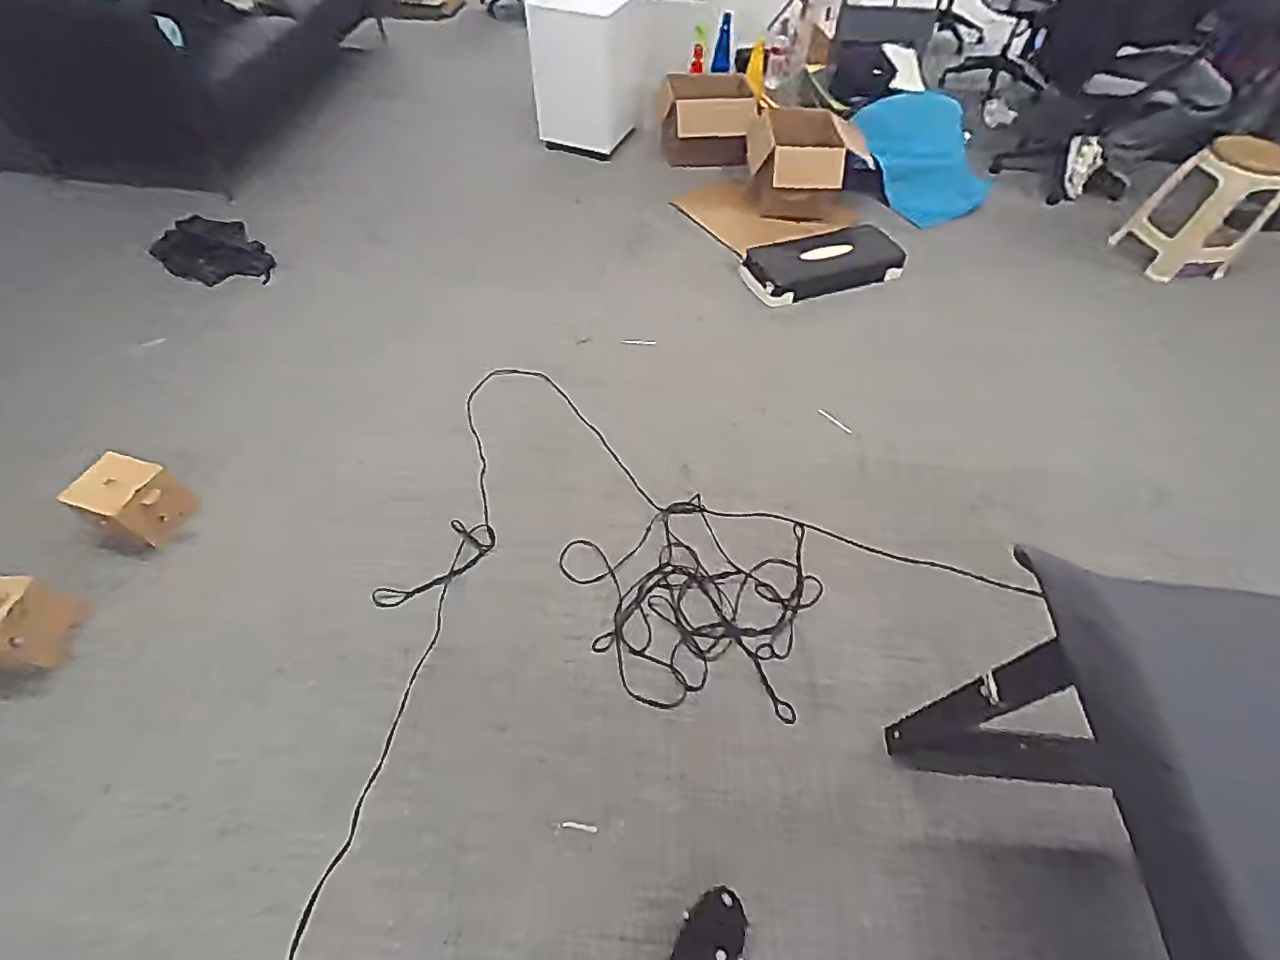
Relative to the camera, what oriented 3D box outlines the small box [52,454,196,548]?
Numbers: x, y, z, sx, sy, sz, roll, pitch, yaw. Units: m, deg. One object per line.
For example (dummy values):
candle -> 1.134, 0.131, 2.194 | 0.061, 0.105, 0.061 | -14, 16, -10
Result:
small box -> -1.353, 0.060, 1.432 | 0.179, 0.176, 0.168 | 14, 54, 7
